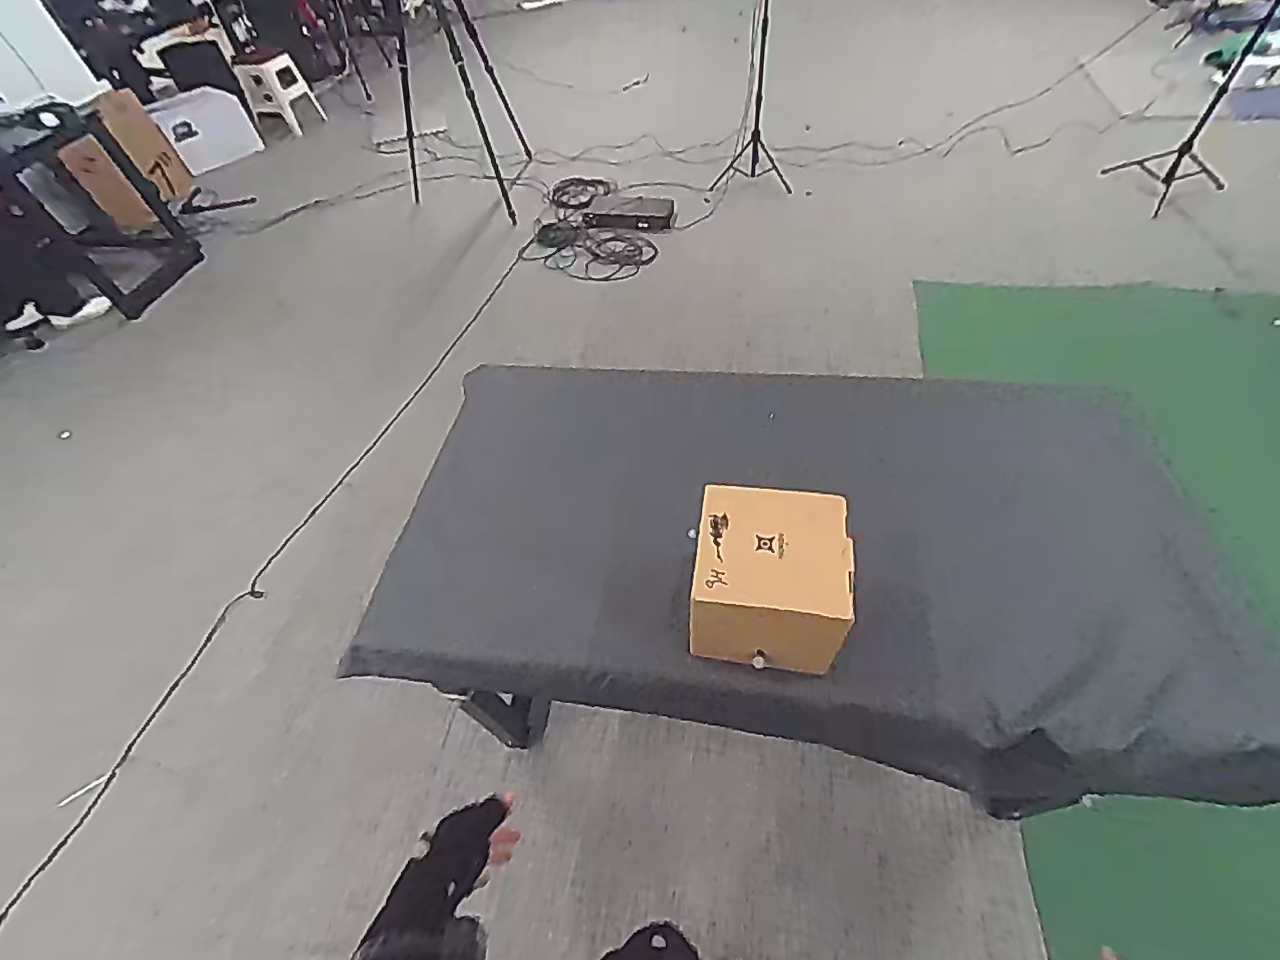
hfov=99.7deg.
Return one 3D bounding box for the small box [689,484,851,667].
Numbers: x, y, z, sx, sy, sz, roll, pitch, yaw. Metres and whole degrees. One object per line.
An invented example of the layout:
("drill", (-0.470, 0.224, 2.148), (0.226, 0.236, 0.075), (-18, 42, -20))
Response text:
("small box", (0.161, 0.128, 0.701), (0.179, 0.176, 0.168), (6, 52, 9))
